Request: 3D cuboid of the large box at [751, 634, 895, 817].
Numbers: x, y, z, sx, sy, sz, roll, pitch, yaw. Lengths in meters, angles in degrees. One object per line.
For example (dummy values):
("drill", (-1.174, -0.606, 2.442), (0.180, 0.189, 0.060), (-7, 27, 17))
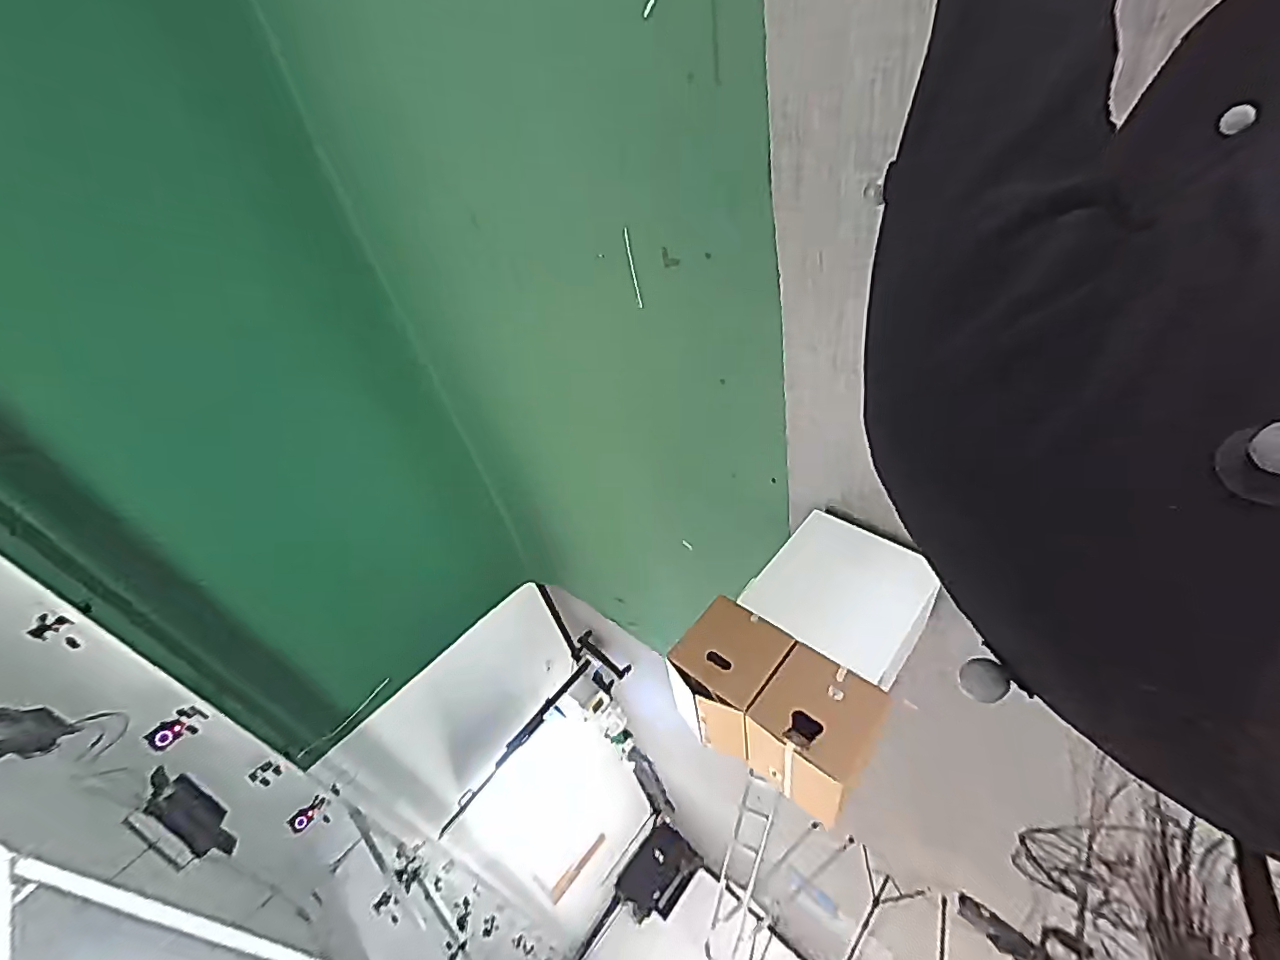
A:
("large box", (0.578, 0.773, 1.722), (0.320, 0.320, 0.408), (27, 146, 36))
